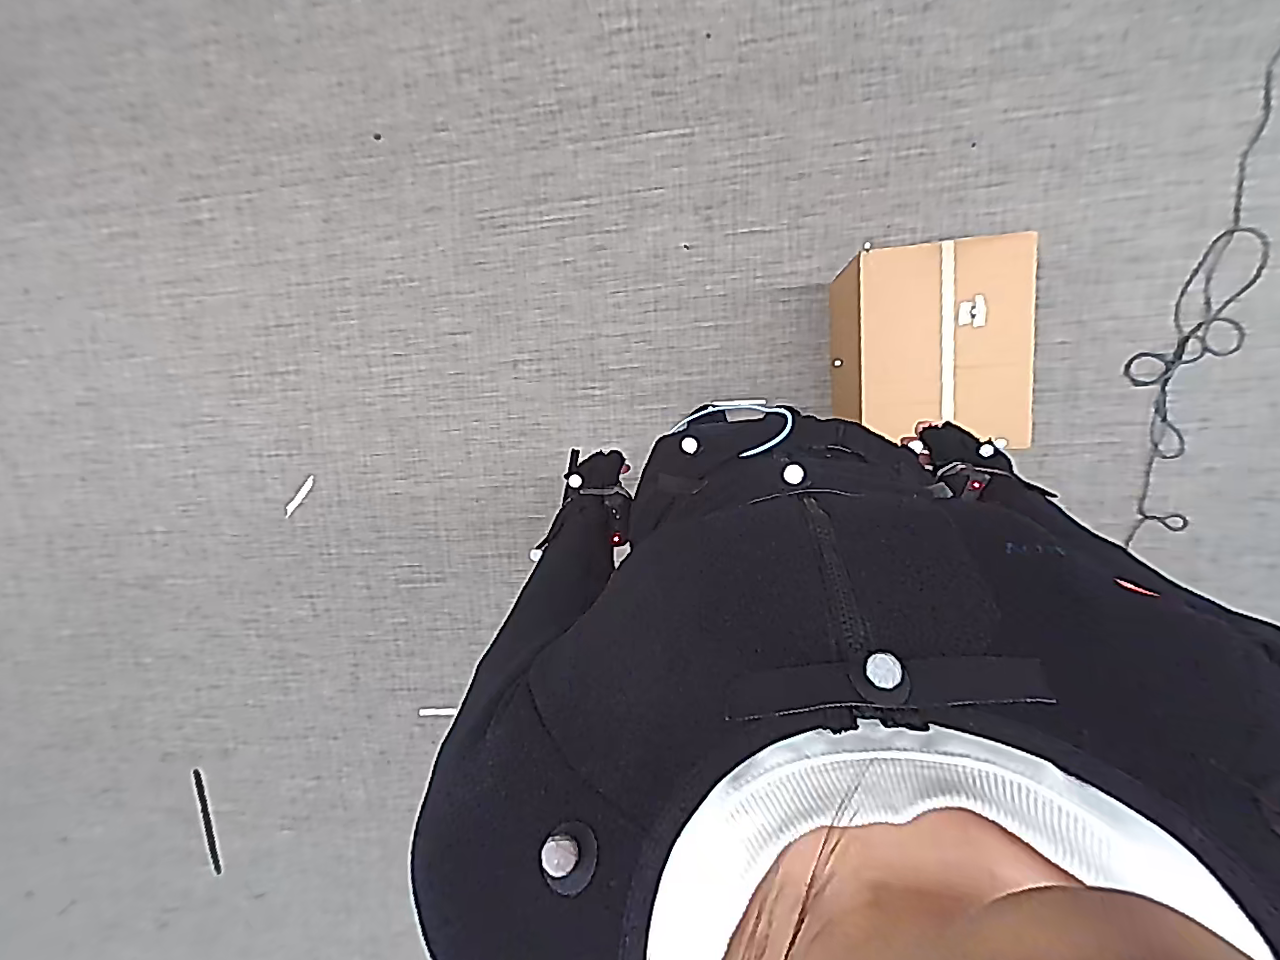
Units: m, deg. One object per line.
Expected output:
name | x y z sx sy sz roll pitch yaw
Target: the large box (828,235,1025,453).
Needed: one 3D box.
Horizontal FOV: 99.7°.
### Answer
large box | 0.613 -0.277 1.212 0.320 0.320 0.408 -3 97 8
